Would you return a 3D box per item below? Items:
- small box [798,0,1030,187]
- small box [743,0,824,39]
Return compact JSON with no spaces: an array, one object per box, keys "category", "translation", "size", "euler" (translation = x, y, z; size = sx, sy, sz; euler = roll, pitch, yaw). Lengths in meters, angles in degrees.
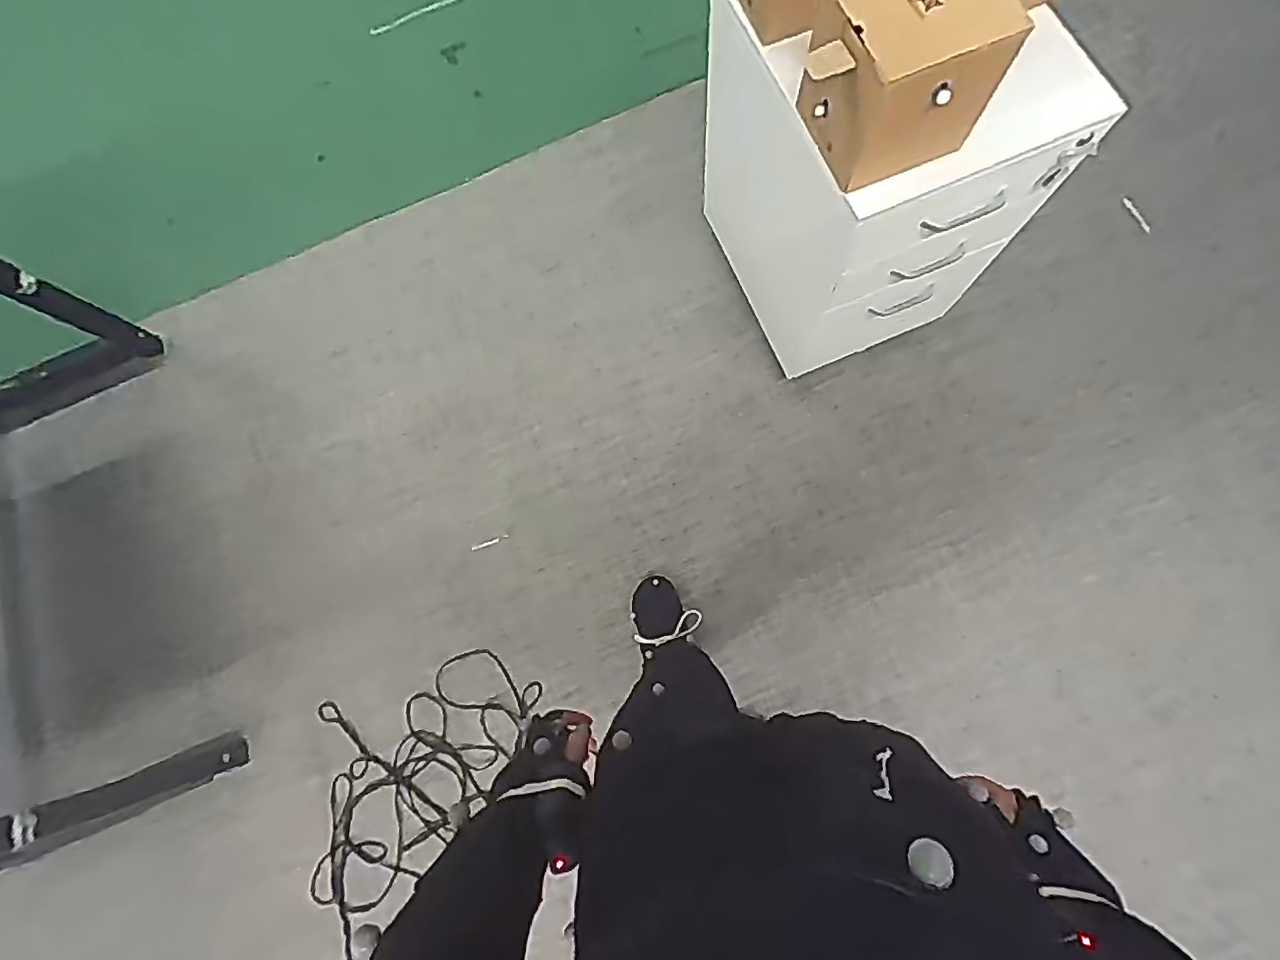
[{"category":"small box","translation":[0.325,-0.517,0.683],"size":[0.179,0.176,0.168],"euler":[-21,76,0]},{"category":"small box","translation":[0.228,-0.768,0.748],"size":[0.179,0.176,0.168],"euler":[-21,78,-1]}]
